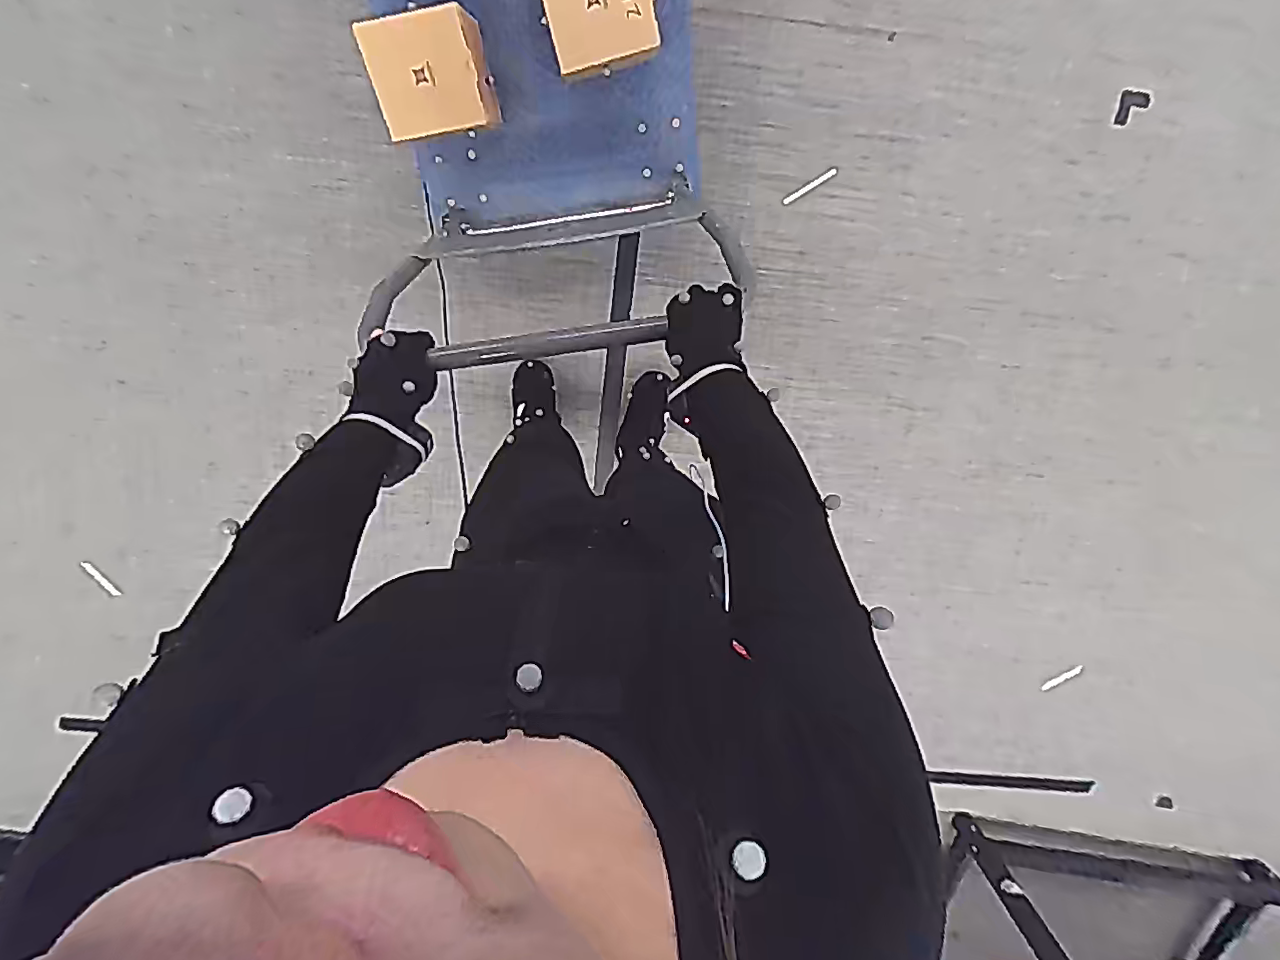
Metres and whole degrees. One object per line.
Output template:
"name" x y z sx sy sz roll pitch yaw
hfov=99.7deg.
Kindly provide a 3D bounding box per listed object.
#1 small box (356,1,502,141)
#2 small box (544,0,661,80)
"small box" -0.364 -0.720 0.971 0.179 0.176 0.168 -11 122 1
"small box" -0.068 -0.811 0.929 0.179 0.176 0.168 -12 122 5
